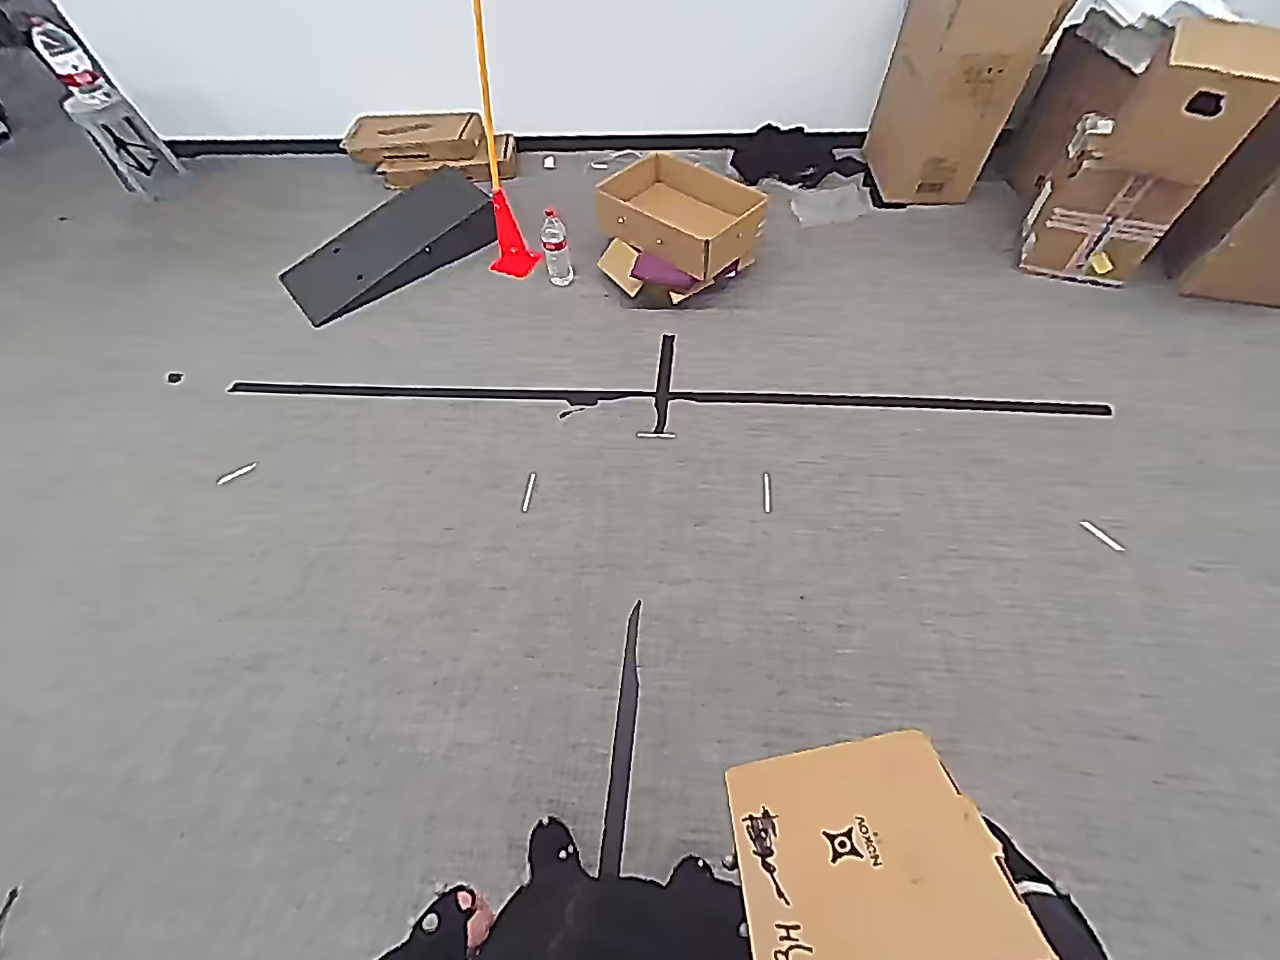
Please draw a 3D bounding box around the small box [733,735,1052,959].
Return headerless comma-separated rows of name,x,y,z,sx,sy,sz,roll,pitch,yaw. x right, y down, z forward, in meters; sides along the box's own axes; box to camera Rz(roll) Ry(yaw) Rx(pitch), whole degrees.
small box,0.186,0.344,0.434,0.179,0.176,0.168,-14,21,7
